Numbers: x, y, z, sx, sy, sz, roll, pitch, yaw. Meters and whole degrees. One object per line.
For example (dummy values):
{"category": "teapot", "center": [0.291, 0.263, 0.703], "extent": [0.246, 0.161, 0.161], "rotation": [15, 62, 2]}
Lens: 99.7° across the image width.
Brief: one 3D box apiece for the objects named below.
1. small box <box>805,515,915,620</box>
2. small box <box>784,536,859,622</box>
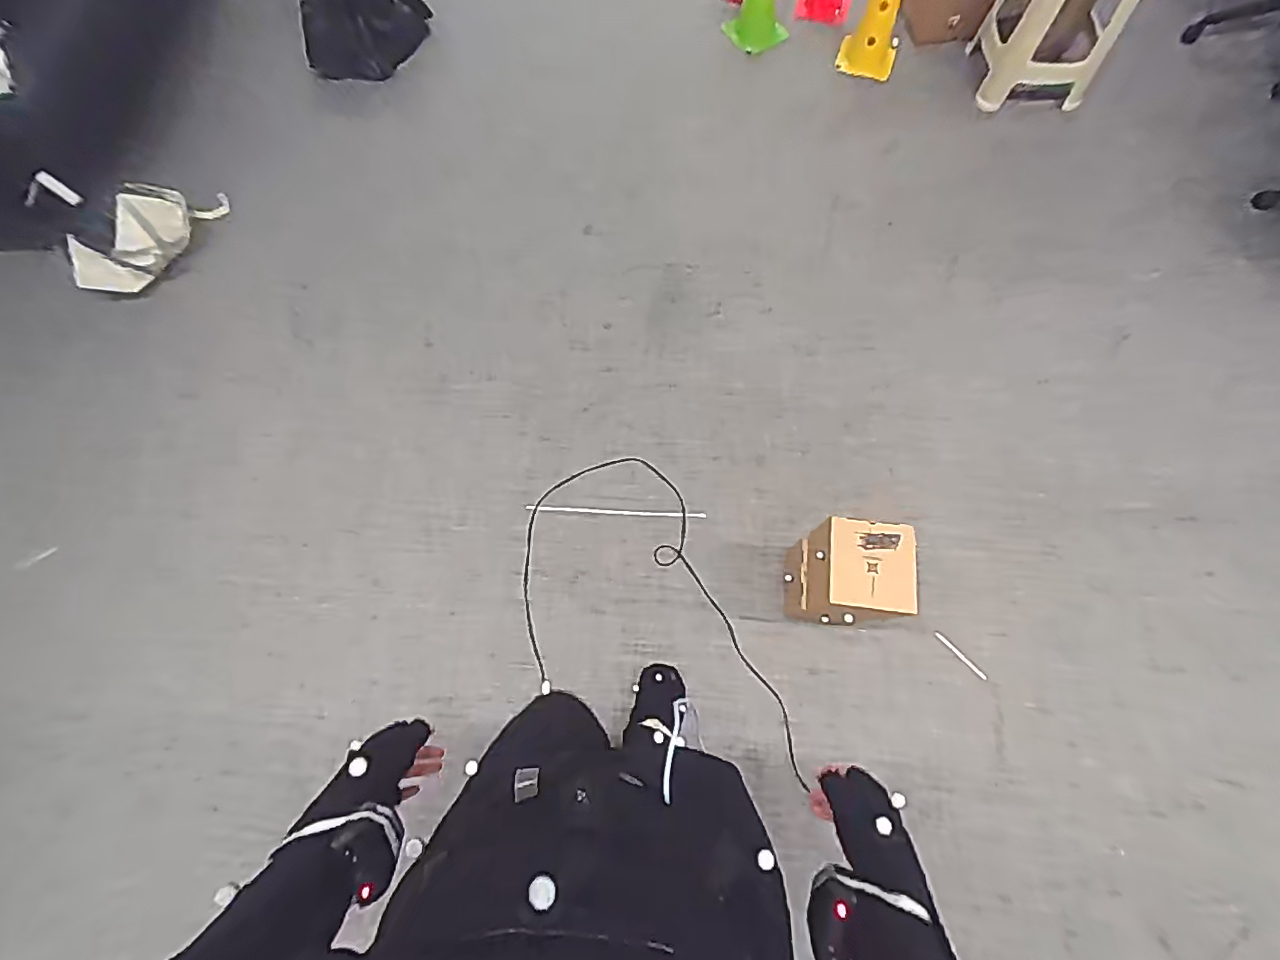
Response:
{"category": "small box", "center": [0.449, 0.187, 1.124], "extent": [0.168, 0.176, 0.179], "rotation": [7, 72, 4]}
{"category": "small box", "center": [0.446, 0.239, 1.280], "extent": [0.179, 0.176, 0.168], "rotation": [7, 71, 3]}
